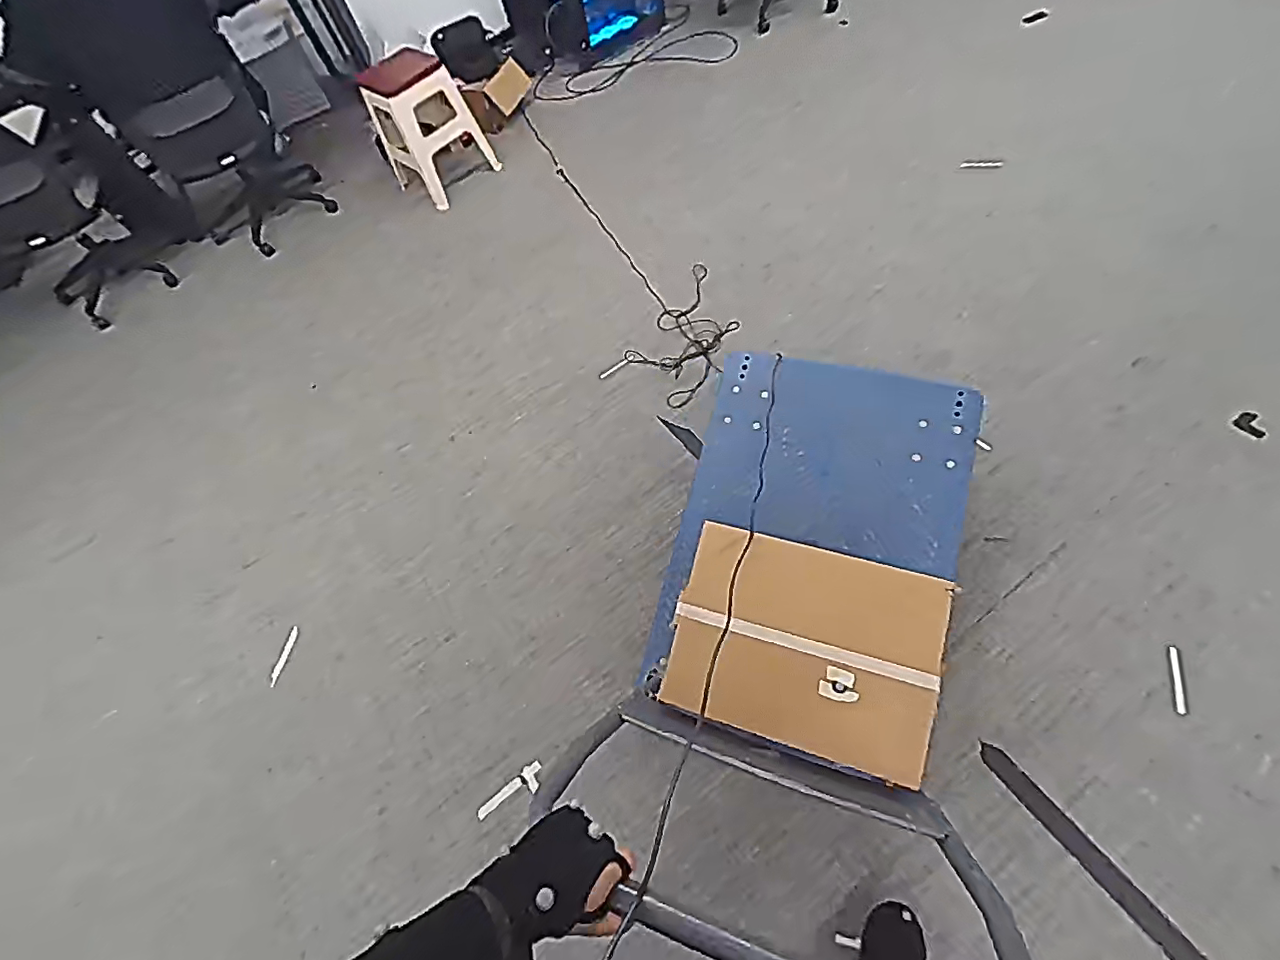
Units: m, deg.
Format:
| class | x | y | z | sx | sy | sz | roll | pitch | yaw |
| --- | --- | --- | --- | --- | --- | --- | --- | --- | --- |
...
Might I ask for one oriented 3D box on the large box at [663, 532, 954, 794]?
| class | x | y | z | sx | sy | sz | roll | pitch | yaw |
| --- | --- | --- | --- | --- | --- | --- | --- | --- | --- |
| large box | 0.290 | 0.308 | 1.001 | 0.408 | 0.320 | 0.320 | 14 | 80 | 15 |
